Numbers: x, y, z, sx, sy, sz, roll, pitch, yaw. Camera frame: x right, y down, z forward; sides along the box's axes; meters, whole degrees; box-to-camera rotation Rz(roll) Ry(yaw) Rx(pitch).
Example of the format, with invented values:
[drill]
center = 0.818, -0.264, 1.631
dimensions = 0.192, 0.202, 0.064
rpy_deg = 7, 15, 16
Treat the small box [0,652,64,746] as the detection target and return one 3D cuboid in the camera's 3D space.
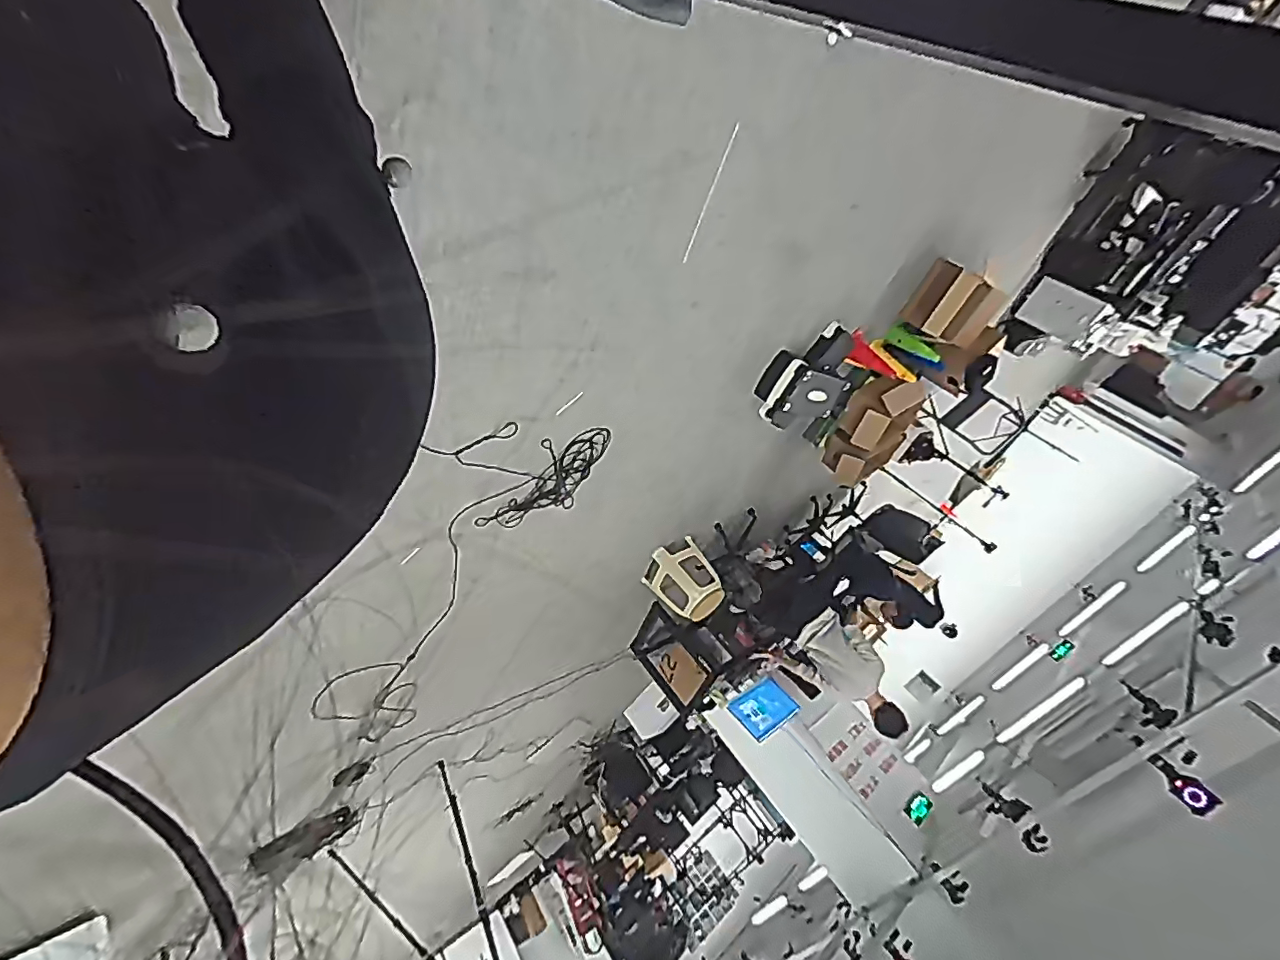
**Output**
[small box]
center = -1.728, 0.597, 1.476
dimensions = 0.168, 0.176, 0.179
rpy_deg = -17, 142, -37
